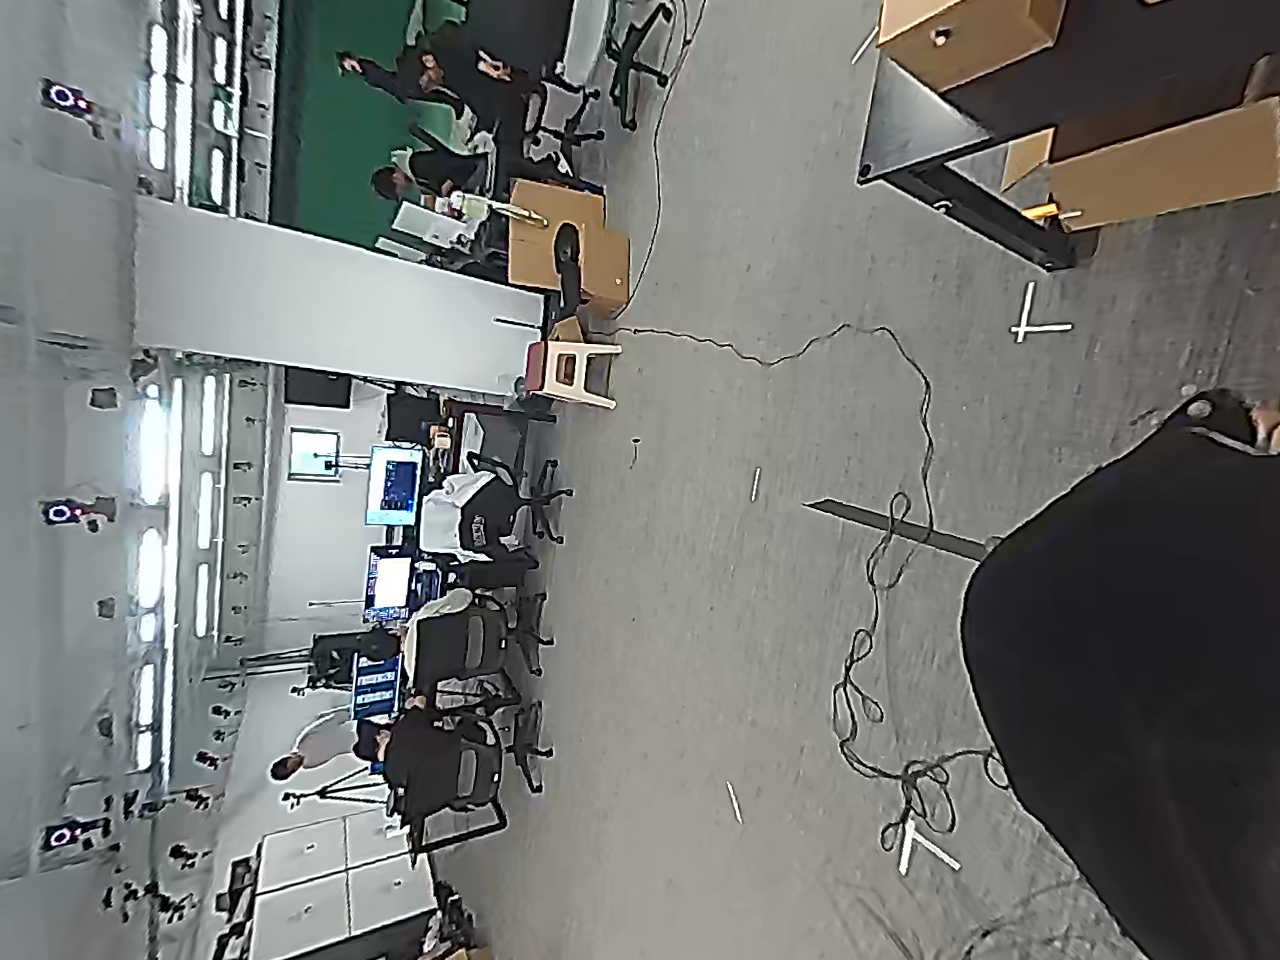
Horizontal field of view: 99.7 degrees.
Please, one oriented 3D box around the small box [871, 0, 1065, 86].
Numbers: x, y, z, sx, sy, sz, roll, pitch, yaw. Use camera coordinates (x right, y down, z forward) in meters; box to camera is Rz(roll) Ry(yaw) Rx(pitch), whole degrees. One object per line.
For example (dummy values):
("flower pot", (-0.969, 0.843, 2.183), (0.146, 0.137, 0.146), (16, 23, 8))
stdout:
("small box", (0.460, -0.691, 0.746), (0.179, 0.176, 0.168), (22, 107, 56))
